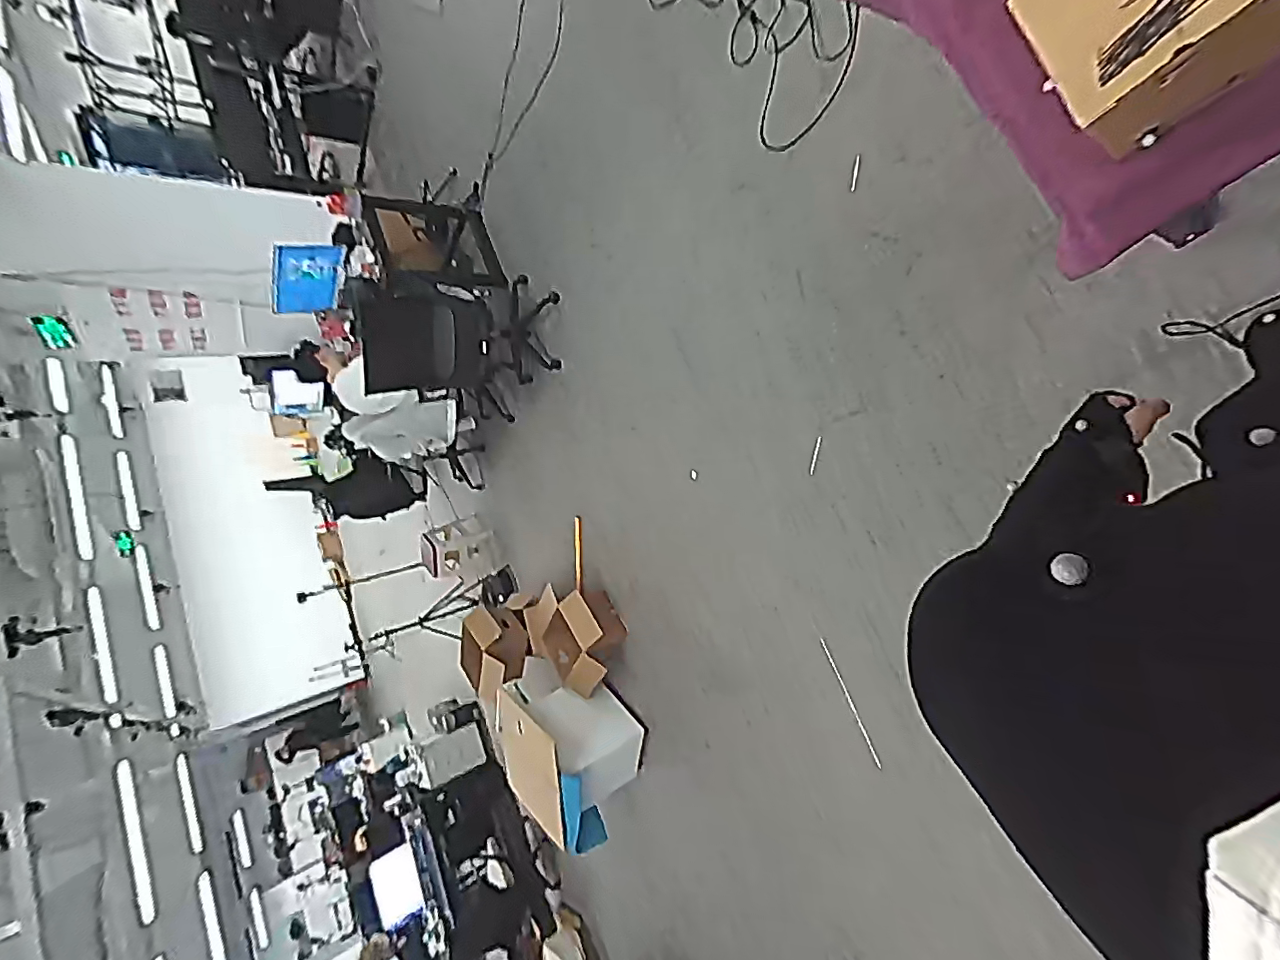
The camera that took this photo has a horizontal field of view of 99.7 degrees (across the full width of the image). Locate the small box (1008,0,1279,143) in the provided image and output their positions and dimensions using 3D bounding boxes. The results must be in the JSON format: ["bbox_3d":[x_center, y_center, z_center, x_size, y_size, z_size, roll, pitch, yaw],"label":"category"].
[{"bbox_3d":[0.539,-0.492,0.569,0.168,0.176,0.179,-32,73,50],"label":"small box"}]
